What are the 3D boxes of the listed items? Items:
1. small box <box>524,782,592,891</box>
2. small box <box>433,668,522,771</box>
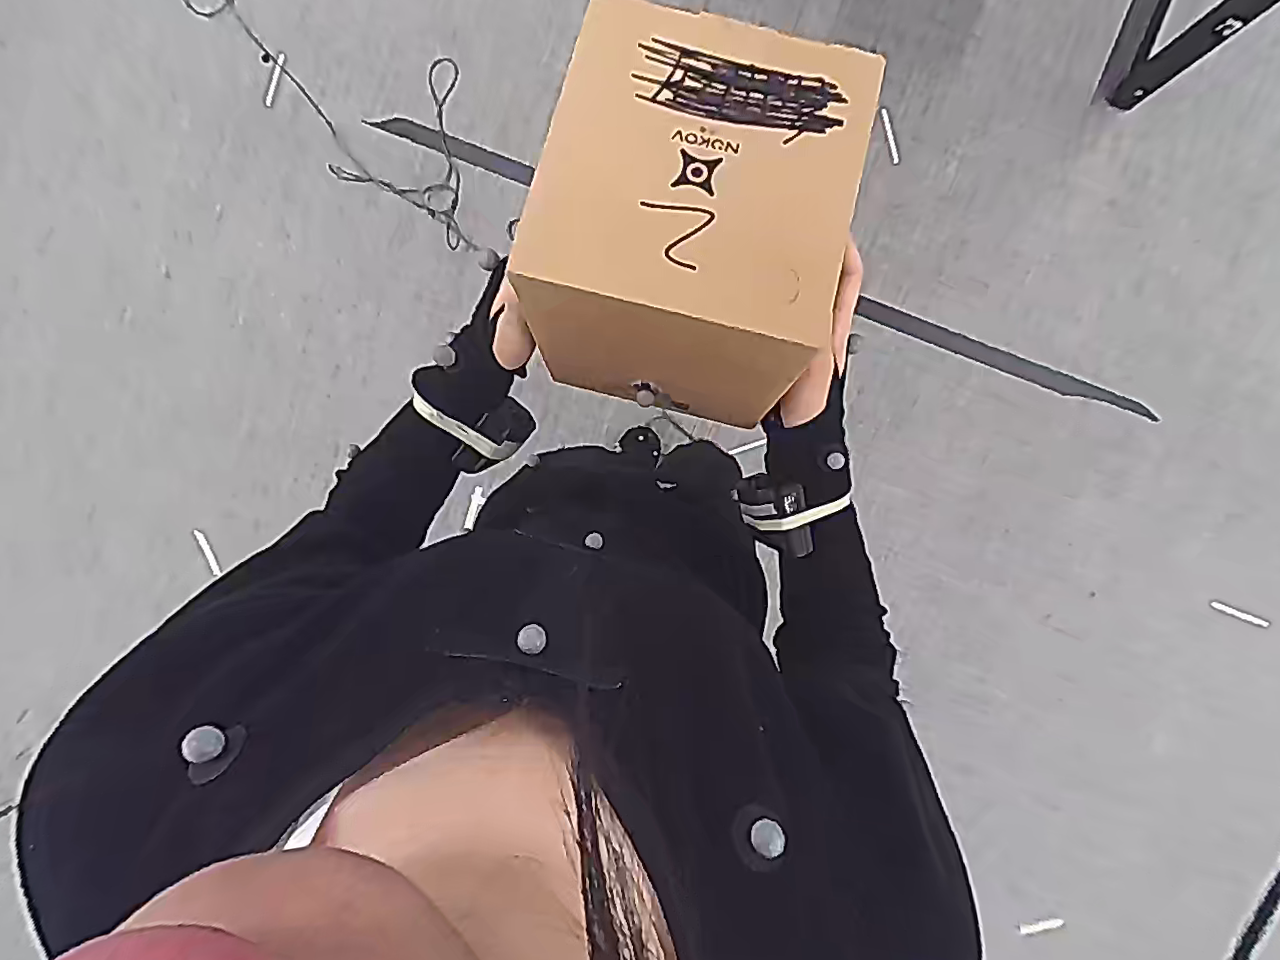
[{"bbox_3d":[-0.236,0.965,1.479,0.179,0.176,0.168,15,95,1],"label":"small box"},{"bbox_3d":[-0.430,0.638,1.462,0.168,0.176,0.179,15,95,1],"label":"small box"}]
